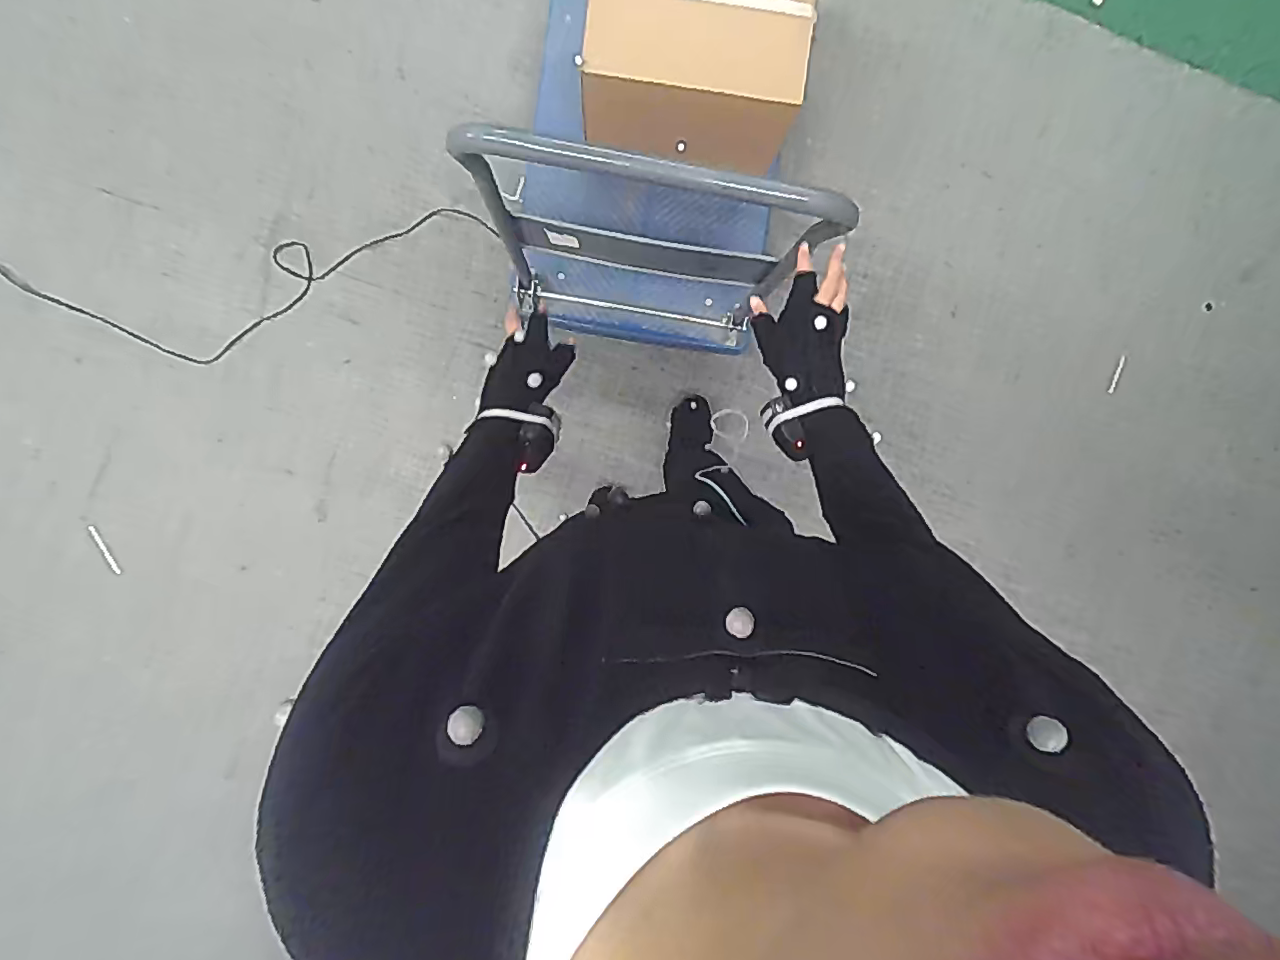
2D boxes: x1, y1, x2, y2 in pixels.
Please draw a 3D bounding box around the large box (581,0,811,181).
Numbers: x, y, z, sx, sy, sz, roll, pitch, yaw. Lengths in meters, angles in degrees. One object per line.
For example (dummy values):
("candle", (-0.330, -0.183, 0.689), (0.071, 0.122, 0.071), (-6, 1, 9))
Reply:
("large box", (0.104, -0.861, 1.109), (0.408, 0.320, 0.320), (7, 91, -2))
